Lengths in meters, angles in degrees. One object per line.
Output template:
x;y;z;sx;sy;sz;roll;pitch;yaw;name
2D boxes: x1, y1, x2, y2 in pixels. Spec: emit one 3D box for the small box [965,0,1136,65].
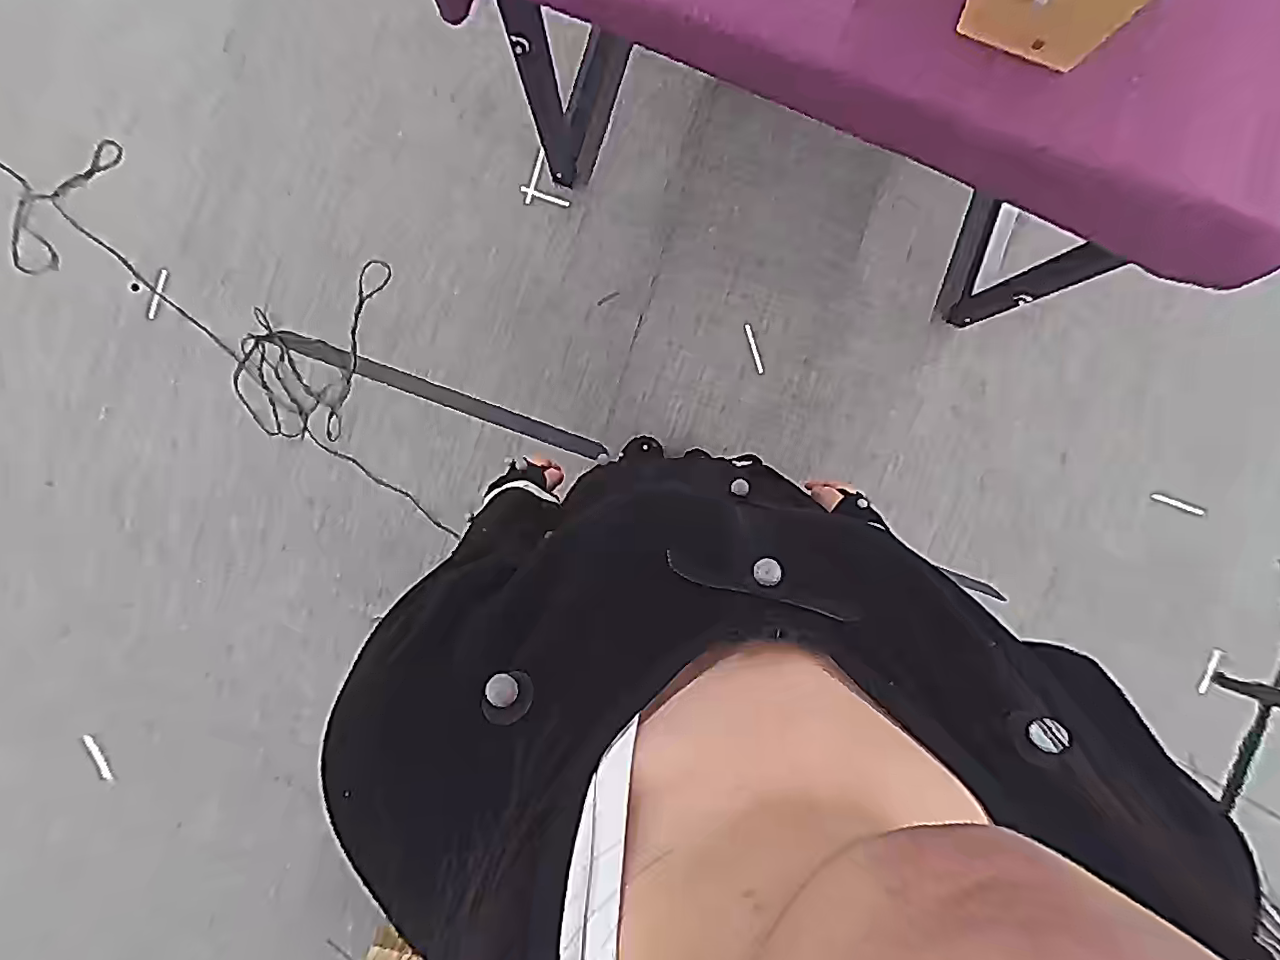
0.539;-0.665;0.660;0.168;0.176;0.179;19;92;-1;small box
